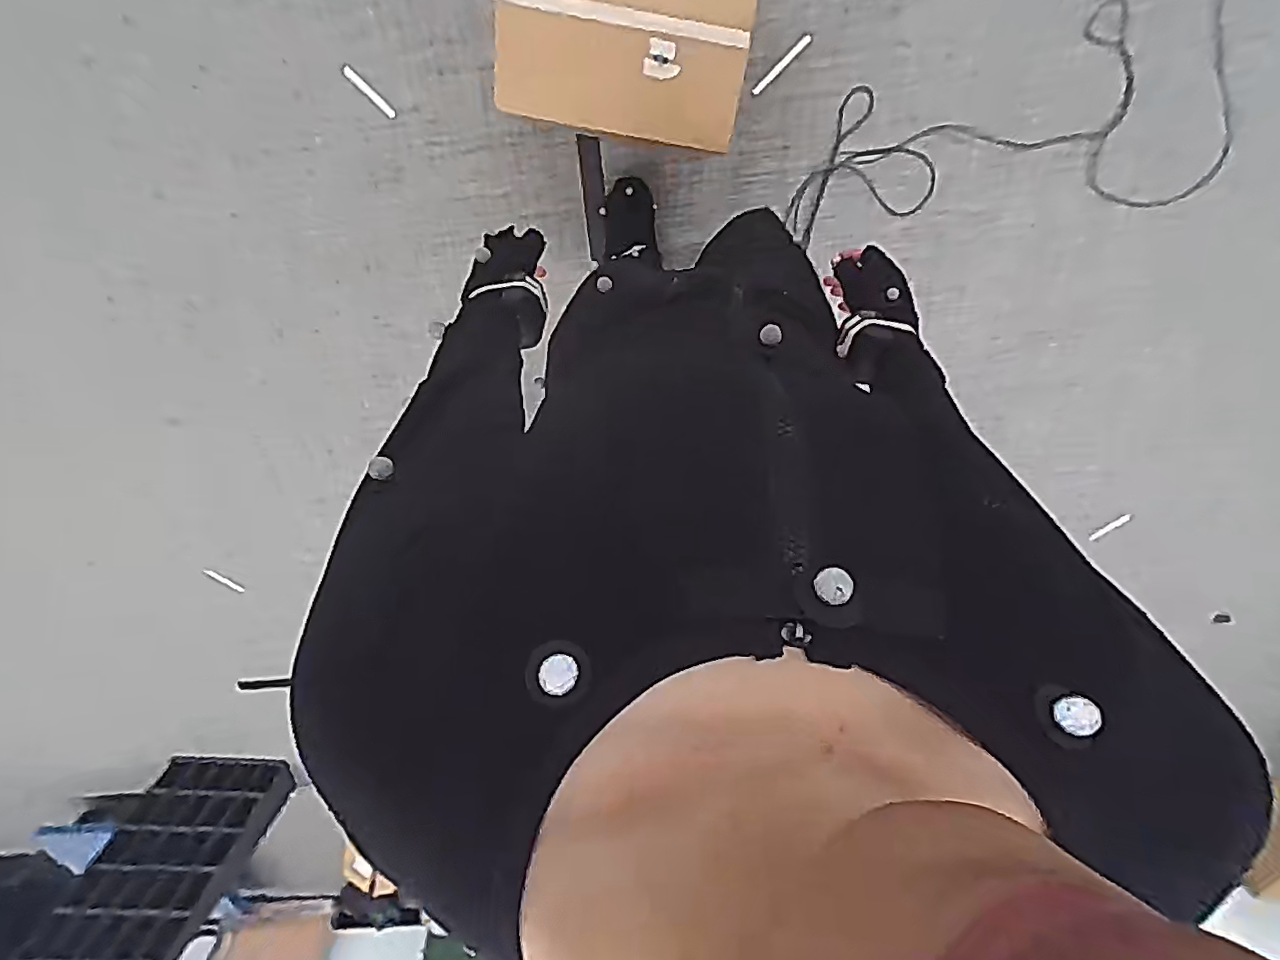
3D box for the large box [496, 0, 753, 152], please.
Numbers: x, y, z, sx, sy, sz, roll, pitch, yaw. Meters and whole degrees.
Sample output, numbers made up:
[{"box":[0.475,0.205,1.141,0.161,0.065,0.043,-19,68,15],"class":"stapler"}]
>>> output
[{"box":[-0.030,-0.809,0.982,0.408,0.320,0.320,7,120,-5],"class":"large box"}]
